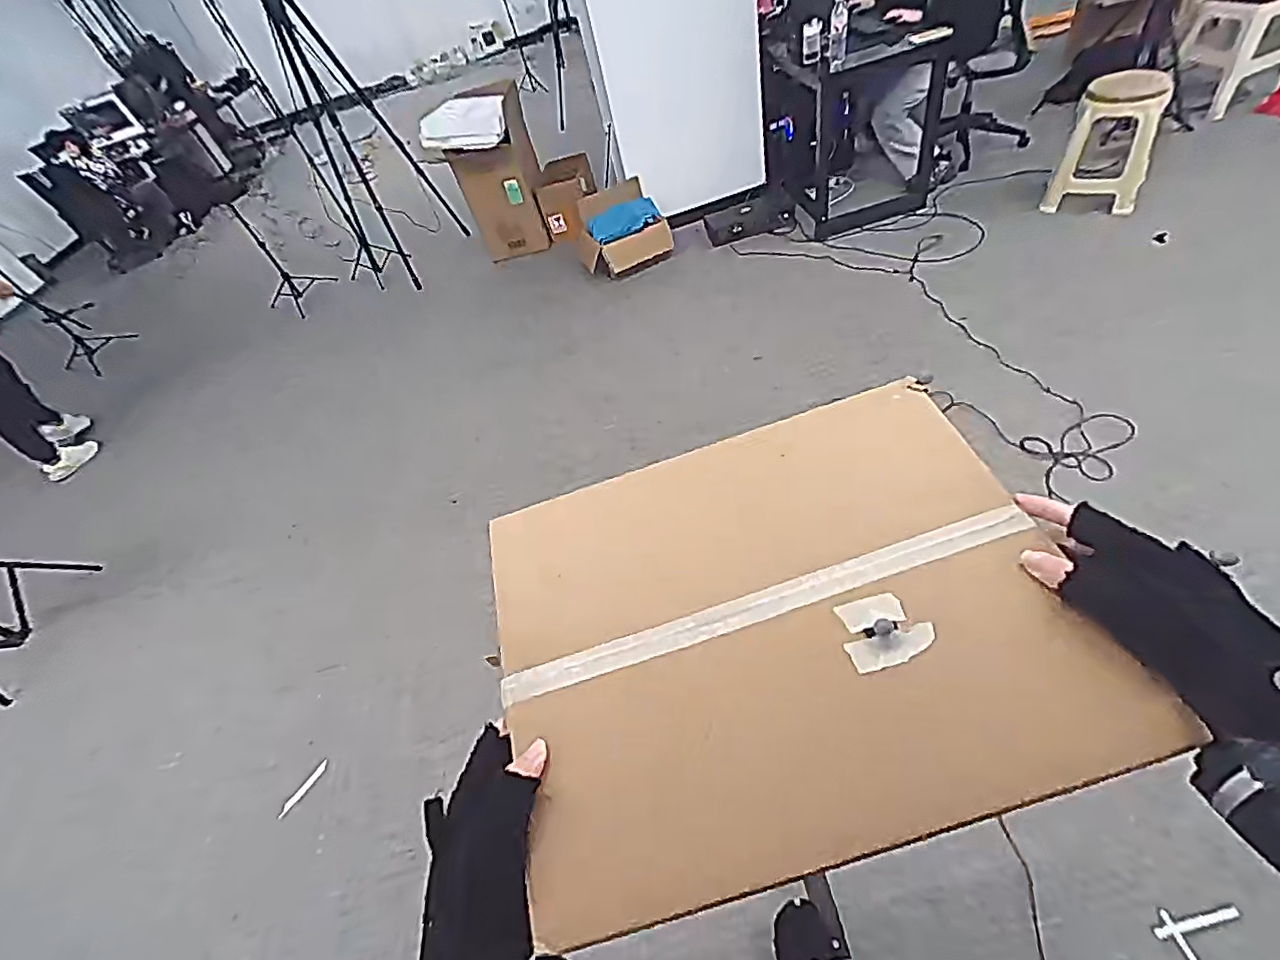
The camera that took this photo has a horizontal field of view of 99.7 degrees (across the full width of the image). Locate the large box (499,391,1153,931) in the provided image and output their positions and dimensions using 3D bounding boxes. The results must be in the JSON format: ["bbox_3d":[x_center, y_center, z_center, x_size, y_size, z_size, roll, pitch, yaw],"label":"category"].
[{"bbox_3d":[0.121,0.180,0.539,0.408,0.320,0.320,-19,54,1],"label":"large box"}]
